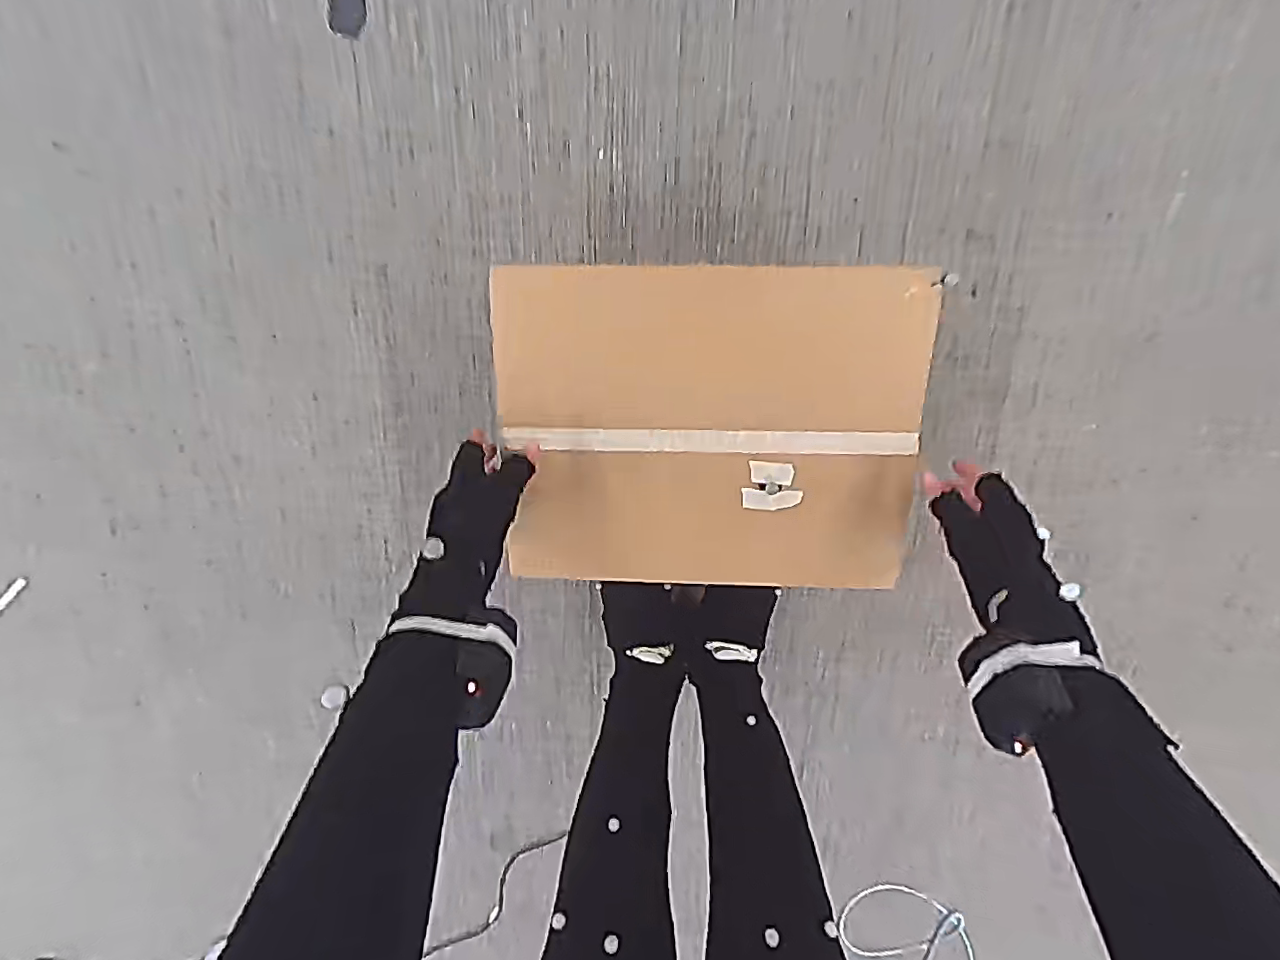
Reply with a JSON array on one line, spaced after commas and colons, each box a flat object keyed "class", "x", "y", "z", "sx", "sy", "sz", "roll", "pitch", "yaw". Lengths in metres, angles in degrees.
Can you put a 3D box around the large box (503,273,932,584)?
[{"class": "large box", "x": 0.076, "y": -0.077, "z": 0.681, "sx": 0.408, "sy": 0.320, "sz": 0.320, "roll": 1, "pitch": 107, "yaw": 3}]
